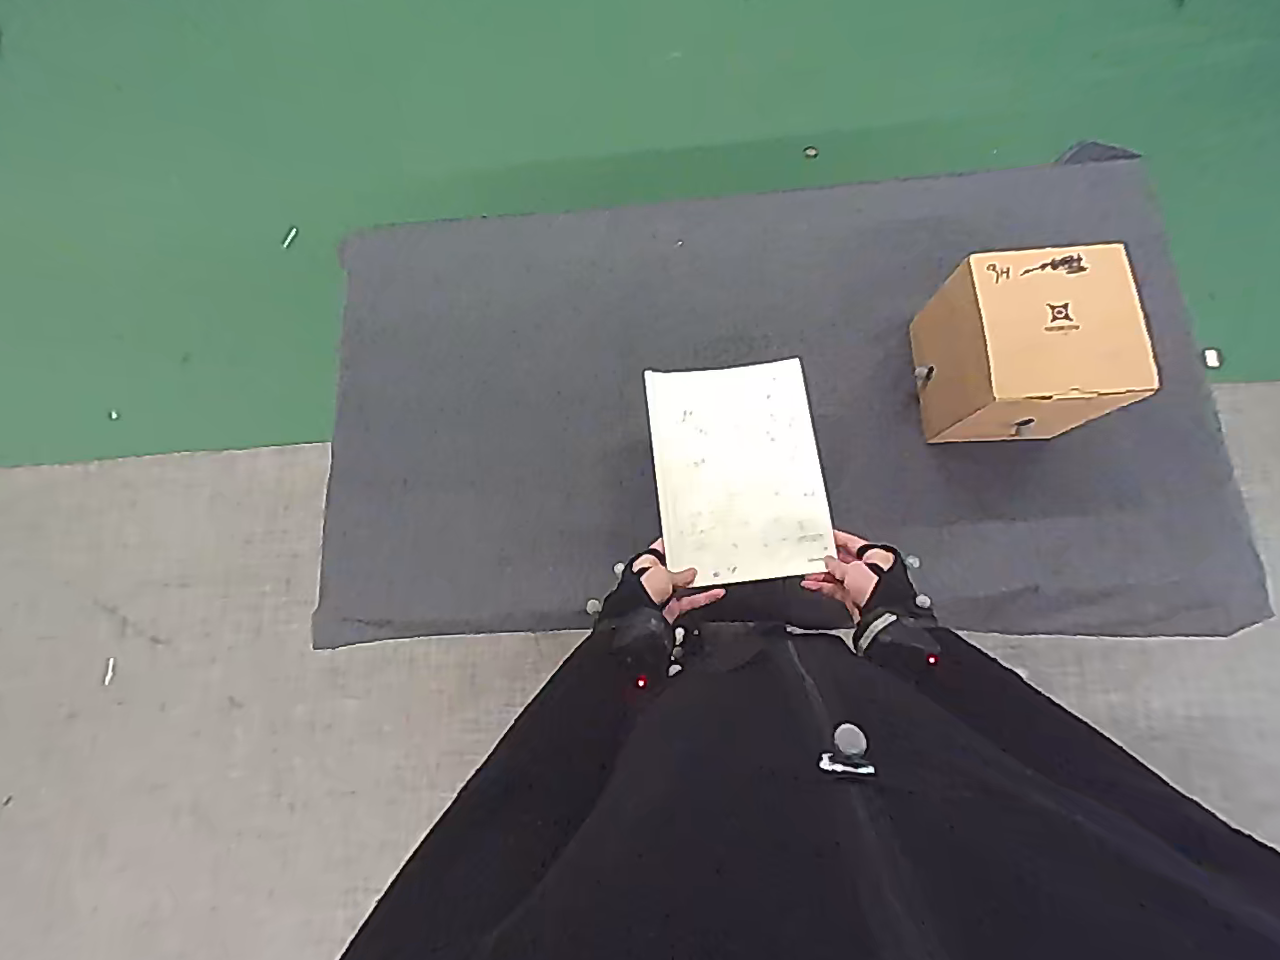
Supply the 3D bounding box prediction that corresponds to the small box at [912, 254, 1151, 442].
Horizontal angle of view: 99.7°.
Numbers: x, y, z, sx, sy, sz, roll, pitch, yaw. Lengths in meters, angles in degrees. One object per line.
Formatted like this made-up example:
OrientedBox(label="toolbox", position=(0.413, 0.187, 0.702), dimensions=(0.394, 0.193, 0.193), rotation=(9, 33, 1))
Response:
OrientedBox(label="small box", position=(0.458, -0.147, 0.663), dimensions=(0.168, 0.176, 0.179), rotation=(-2, 79, 3))
